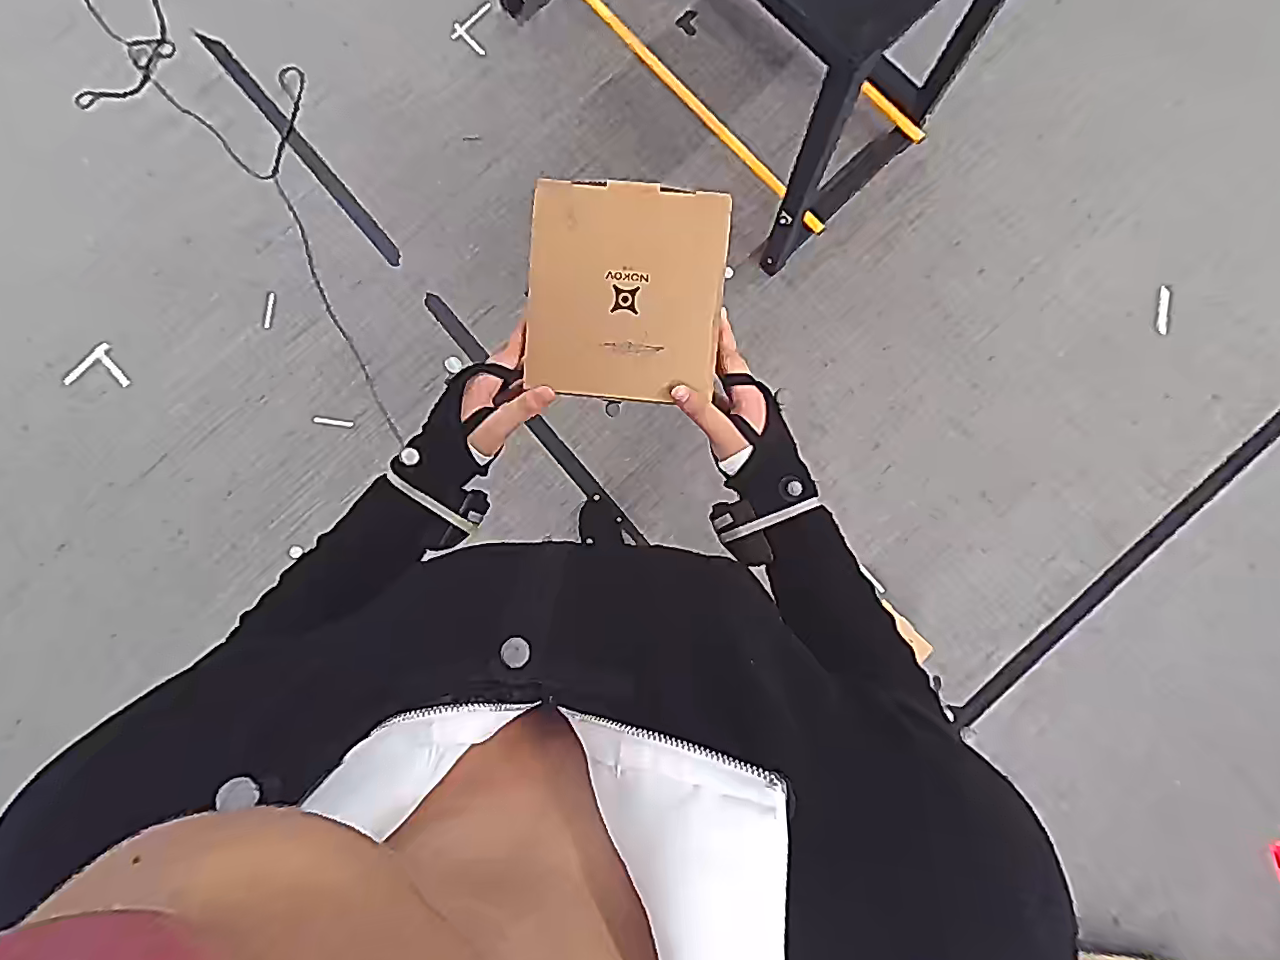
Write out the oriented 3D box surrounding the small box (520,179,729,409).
[{"bbox_3d":[-0.014,-0.165,0.535,0.168,0.176,0.179,5,98,1],"label":"small box"}]
